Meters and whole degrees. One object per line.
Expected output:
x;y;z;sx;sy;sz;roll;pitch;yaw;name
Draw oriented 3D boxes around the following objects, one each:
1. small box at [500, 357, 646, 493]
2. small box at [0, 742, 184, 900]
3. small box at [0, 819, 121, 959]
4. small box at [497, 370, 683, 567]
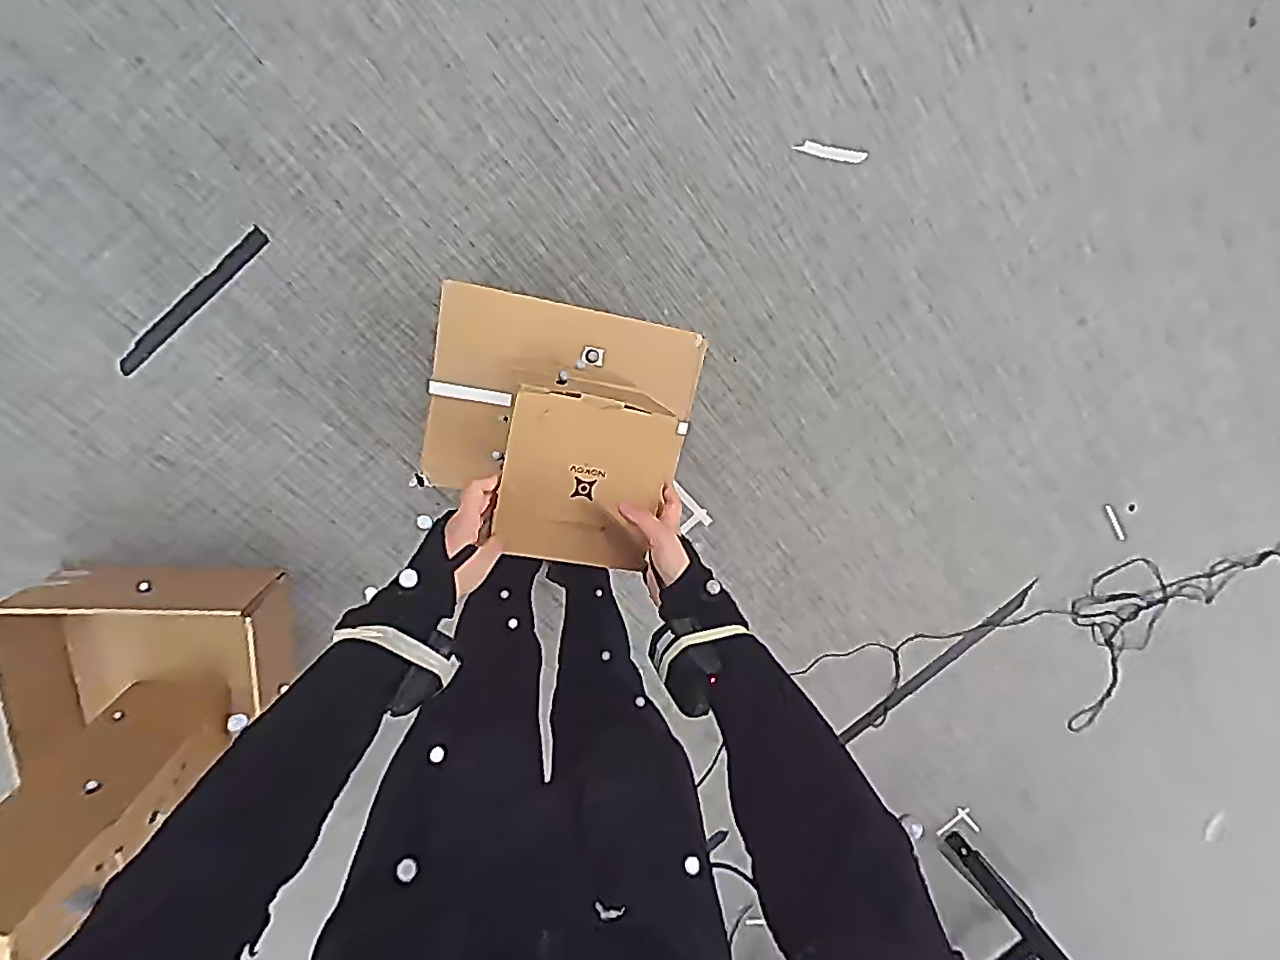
-0.102;-0.071;0.776;0.168;0.176;0.179;8;104;-15;small box
-0.910;0.566;0.909;0.179;0.176;0.168;8;104;-14;small box
-0.886;0.605;0.752;0.179;0.176;0.168;7;104;-13;small box
-0.067;-0.022;0.625;0.168;0.176;0.179;10;105;-14;small box
